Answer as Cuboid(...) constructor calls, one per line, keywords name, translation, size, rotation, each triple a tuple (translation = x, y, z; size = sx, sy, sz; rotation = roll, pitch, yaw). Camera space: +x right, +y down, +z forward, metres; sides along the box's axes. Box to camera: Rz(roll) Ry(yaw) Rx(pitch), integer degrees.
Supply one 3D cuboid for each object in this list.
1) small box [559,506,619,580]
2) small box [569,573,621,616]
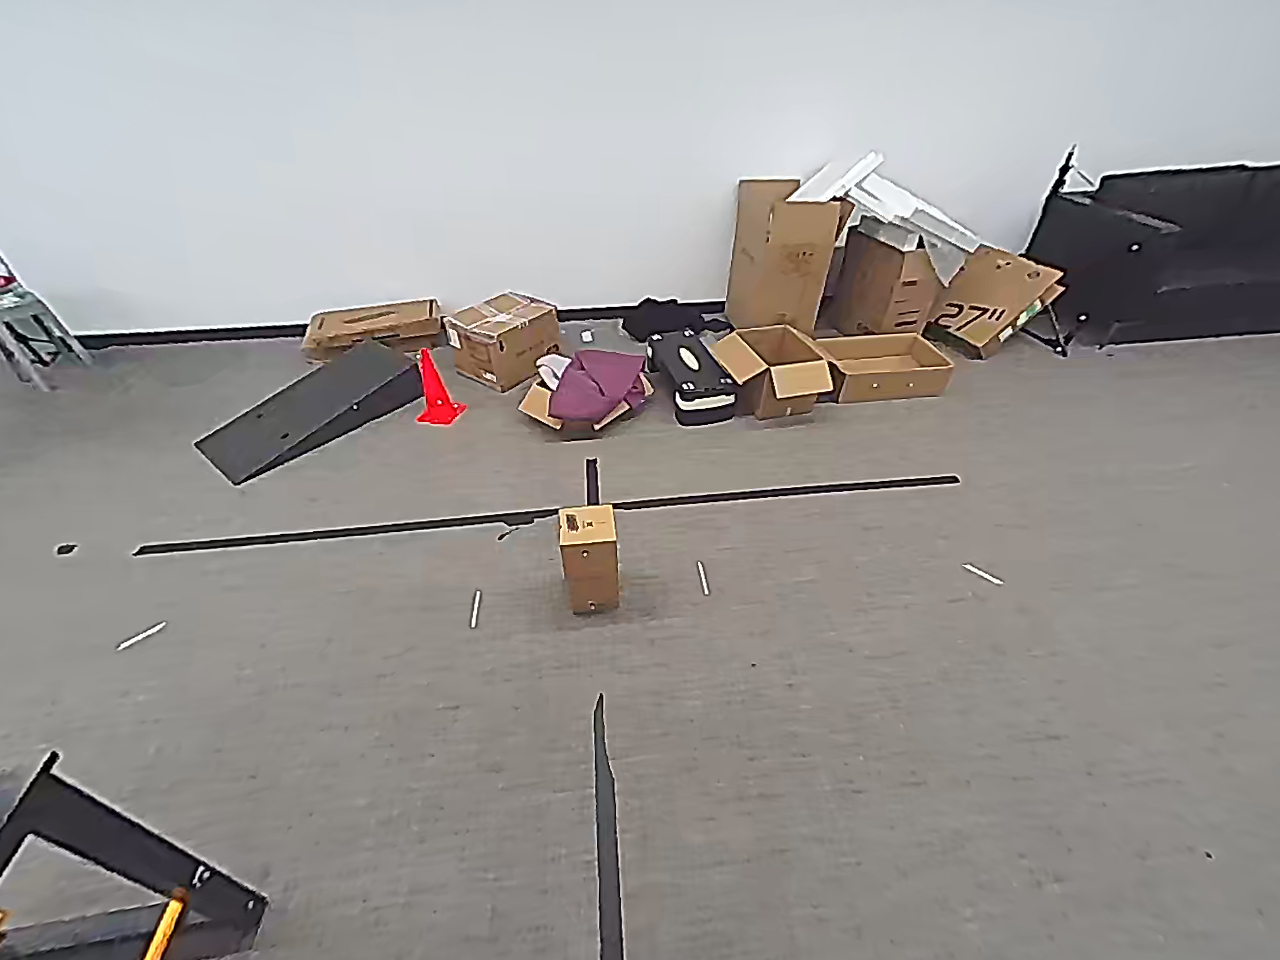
Cuboid(name="small box", translation=(-0.164, 0.208, 1.748), size=(0.179, 0.176, 0.168), rotation=(-5, 40, -5))
Cuboid(name="small box", translation=(-0.161, 0.335, 1.852), size=(0.168, 0.176, 0.179), rotation=(-9, 41, -8))
